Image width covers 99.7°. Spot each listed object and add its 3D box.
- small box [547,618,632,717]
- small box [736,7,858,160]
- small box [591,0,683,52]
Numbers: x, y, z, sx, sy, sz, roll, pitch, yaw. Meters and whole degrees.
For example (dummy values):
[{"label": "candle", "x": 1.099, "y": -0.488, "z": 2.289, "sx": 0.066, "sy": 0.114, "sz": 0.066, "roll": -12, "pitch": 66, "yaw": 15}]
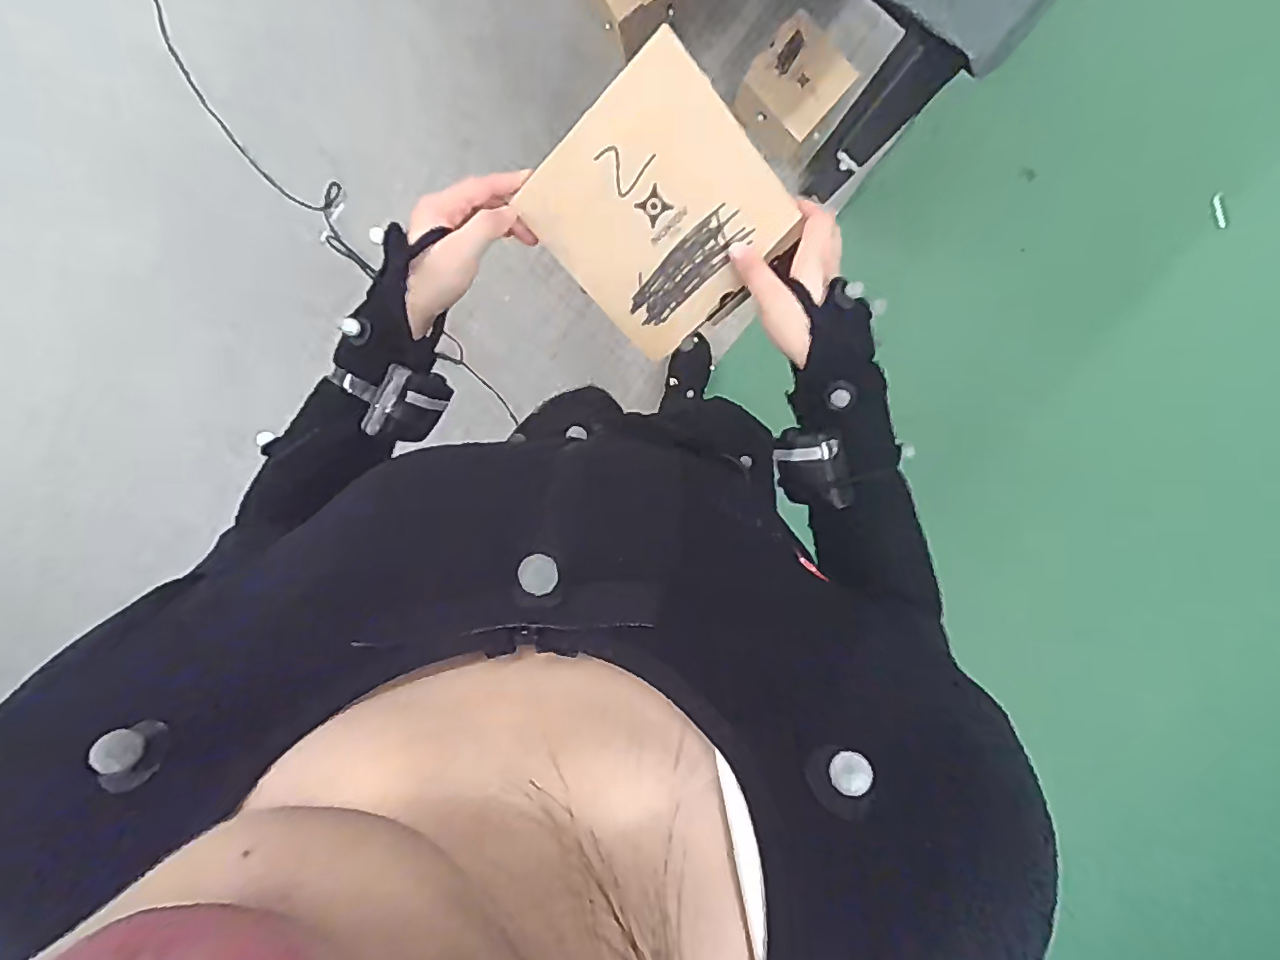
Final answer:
[{"label": "small box", "x": -0.135, "y": 0.526, "z": 1.536, "sx": 0.179, "sy": 0.176, "sz": 0.168, "roll": -31, "pitch": 100, "yaw": 11}, {"label": "small box", "x": 0.325, "y": -0.834, "z": 1.163, "sx": 0.179, "sy": 0.176, "sz": 0.168, "roll": 43, "pitch": 103, "yaw": -8}, {"label": "small box", "x": -0.017, "y": -1.051, "z": 1.132, "sx": 0.168, "sy": 0.176, "sz": 0.179, "roll": -31, "pitch": 99, "yaw": 10}]
